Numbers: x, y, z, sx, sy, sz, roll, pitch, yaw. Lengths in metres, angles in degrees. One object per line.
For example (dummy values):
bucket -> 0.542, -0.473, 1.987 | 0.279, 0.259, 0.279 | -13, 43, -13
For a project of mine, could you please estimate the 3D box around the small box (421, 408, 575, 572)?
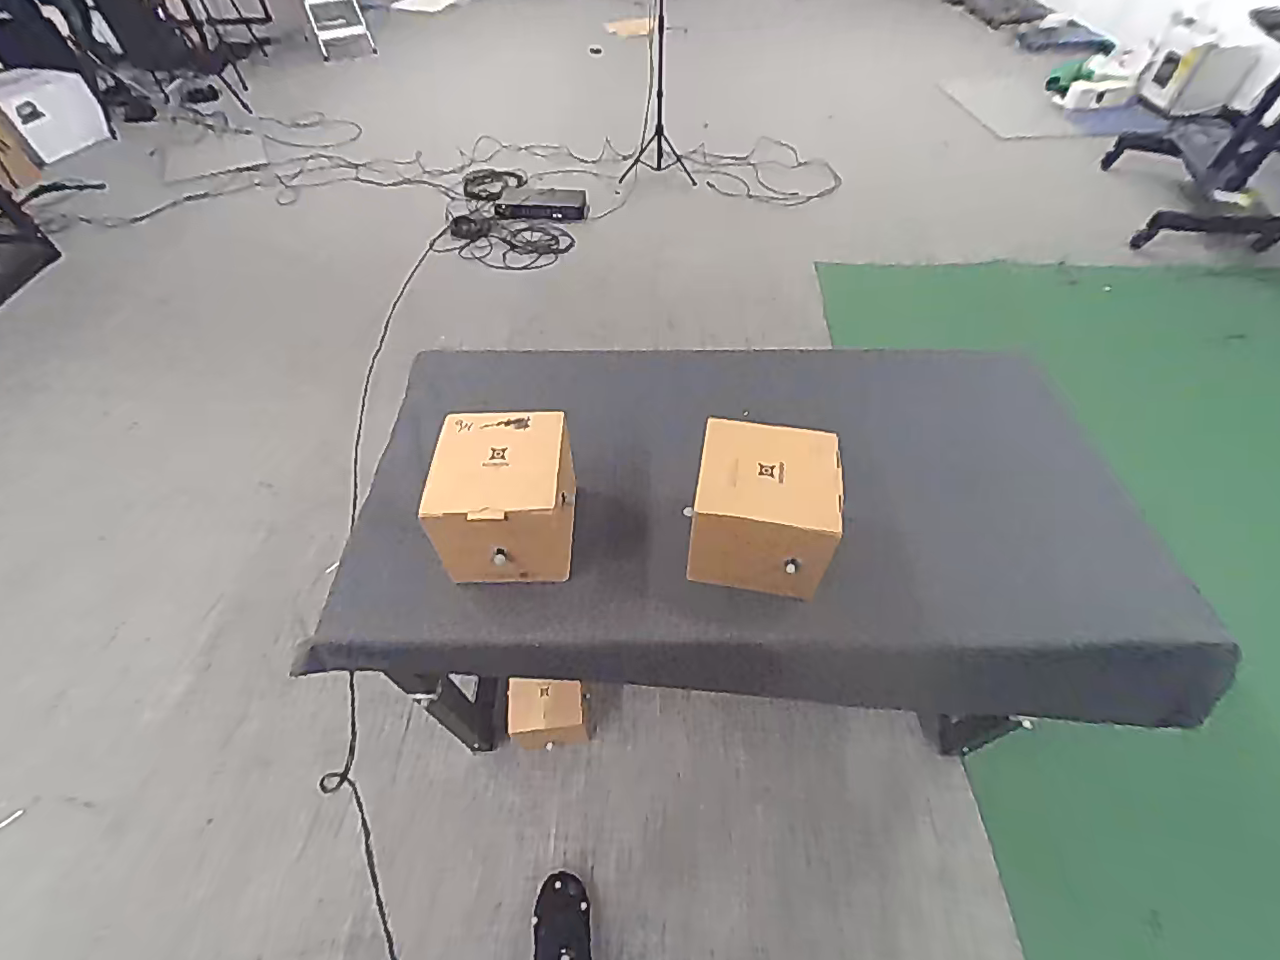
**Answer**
small box -> -0.183, 0.019, 0.762 | 0.168, 0.176, 0.179 | 0, 51, -1

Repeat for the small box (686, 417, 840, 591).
small box -> 0.163, 0.037, 0.751 | 0.179, 0.176, 0.168 | 7, 50, 7
